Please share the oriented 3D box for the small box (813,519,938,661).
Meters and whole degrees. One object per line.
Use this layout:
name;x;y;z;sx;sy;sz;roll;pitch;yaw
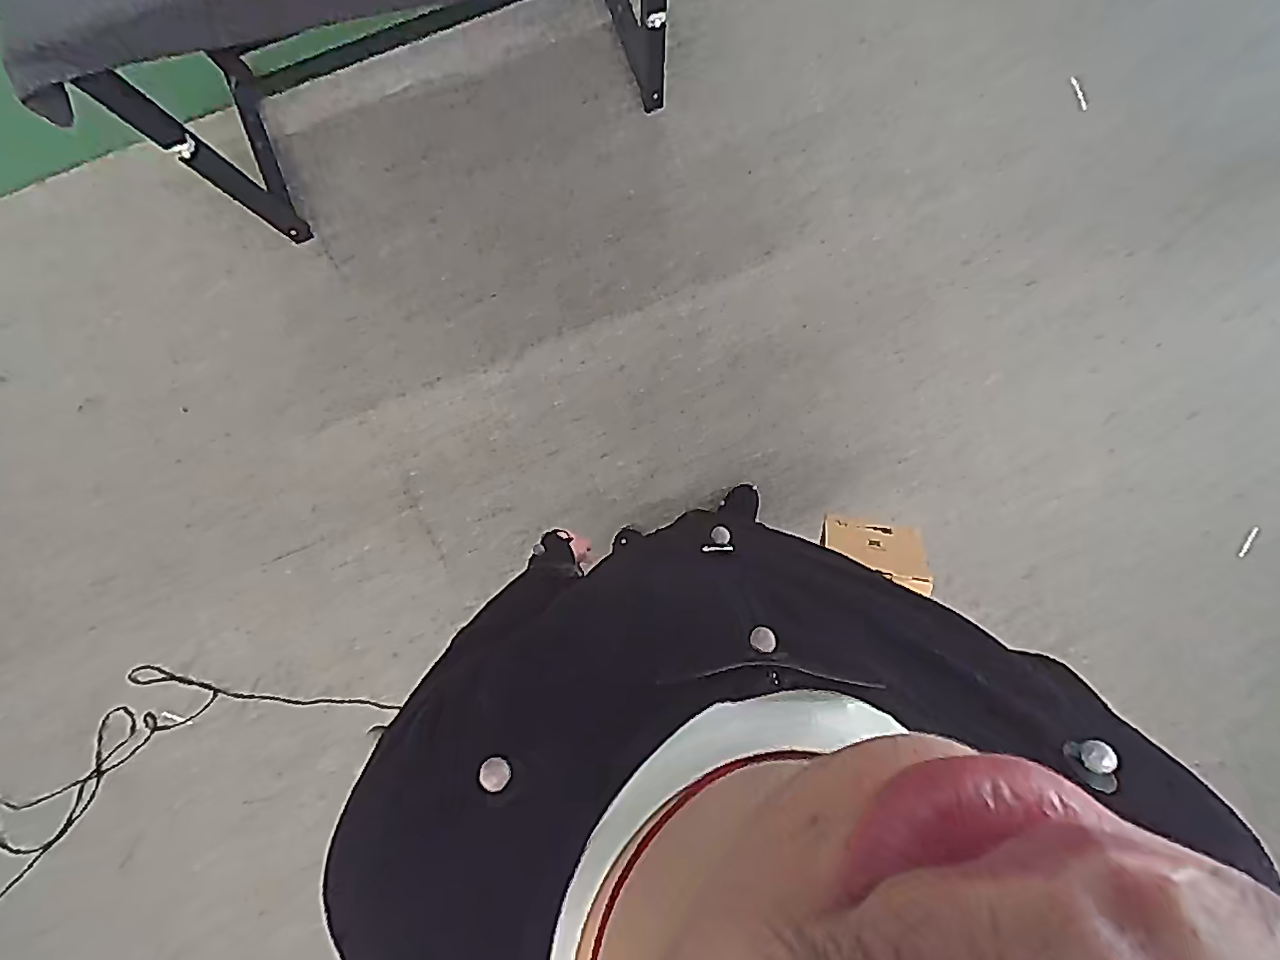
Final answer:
small box;0.409;0.192;0.965;0.168;0.179;0.176;9;115;14
